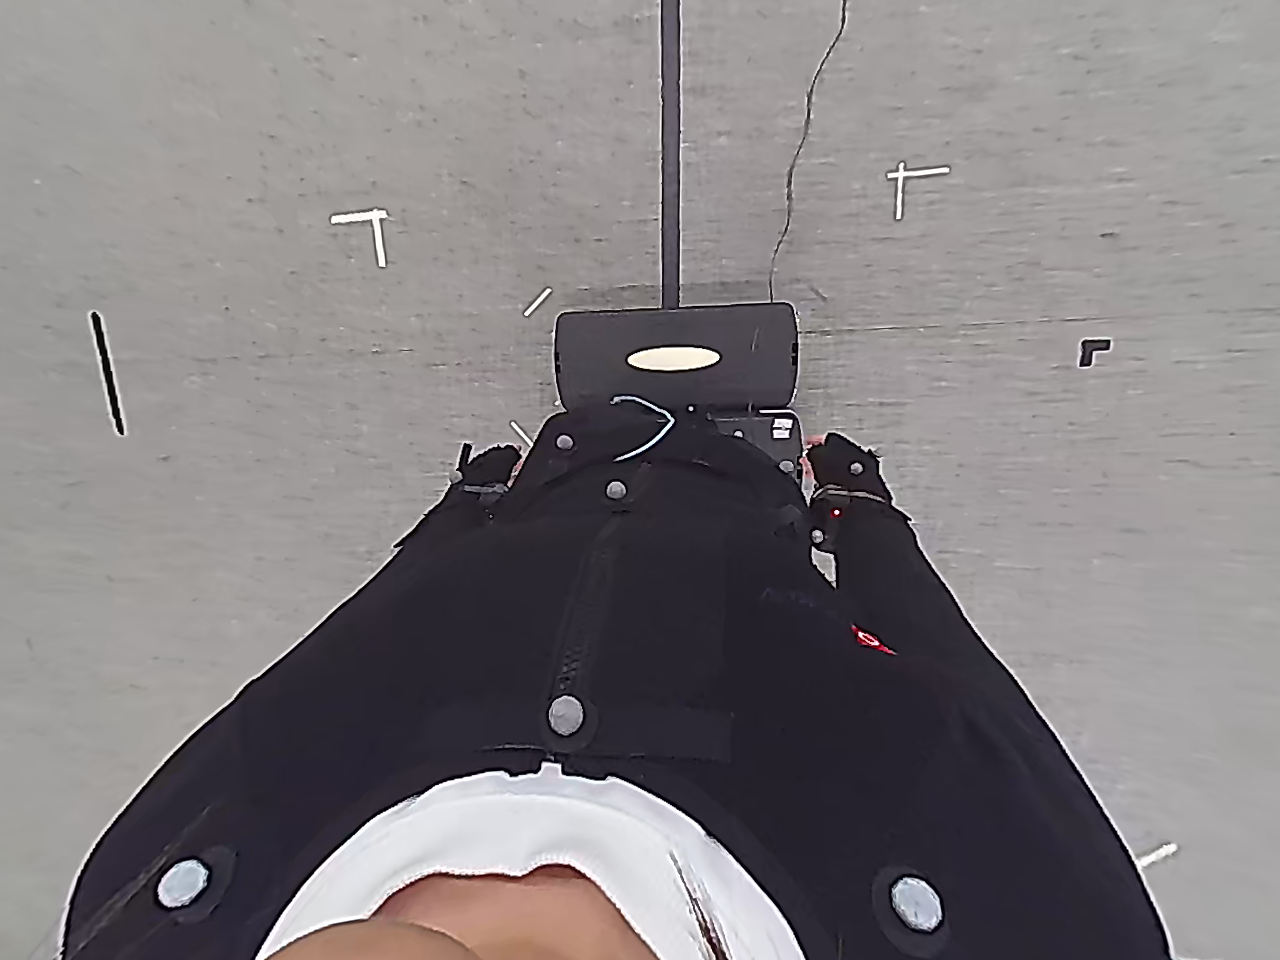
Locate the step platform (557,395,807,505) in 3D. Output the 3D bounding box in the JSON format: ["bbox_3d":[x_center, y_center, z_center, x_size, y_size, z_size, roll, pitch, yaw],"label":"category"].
[{"bbox_3d":[0.112,-0.082,1.516,0.684,0.204,0.286,-1,100,8],"label":"step platform"}]
